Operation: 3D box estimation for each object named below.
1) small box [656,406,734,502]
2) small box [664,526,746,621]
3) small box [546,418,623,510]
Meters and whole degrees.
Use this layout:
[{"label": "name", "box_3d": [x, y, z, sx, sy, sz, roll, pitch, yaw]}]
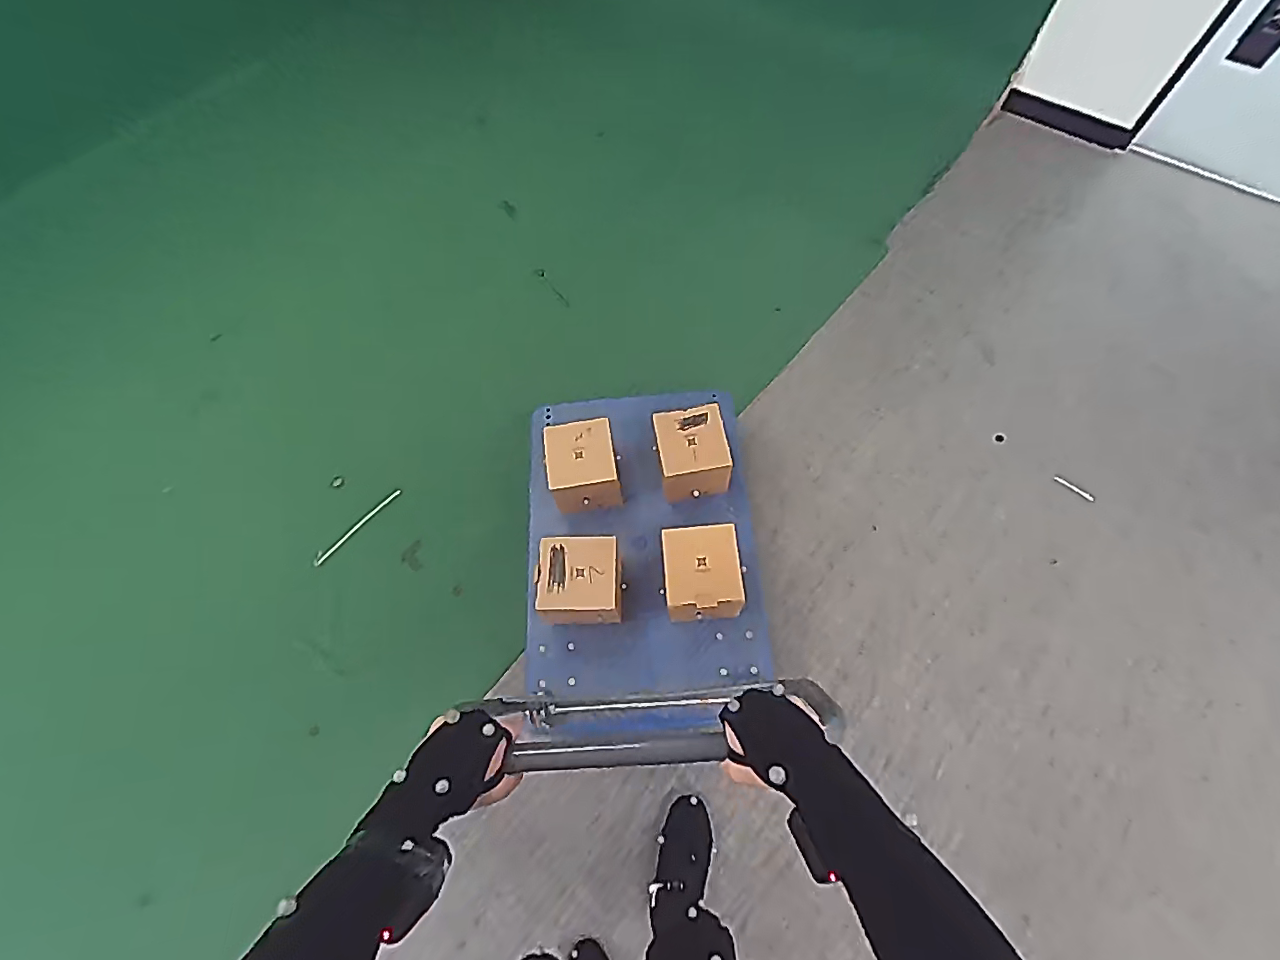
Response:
[{"label": "small box", "box_3d": [0.135, -0.063, 1.372, 0.168, 0.176, 0.179, -9, 67, 0]}, {"label": "small box", "box_3d": [0.143, 0.218, 1.248, 0.168, 0.176, 0.179, -5, 66, 2]}, {"label": "small box", "box_3d": [-0.137, -0.032, 1.376, 0.168, 0.176, 0.179, -8, 66, -1]}]
